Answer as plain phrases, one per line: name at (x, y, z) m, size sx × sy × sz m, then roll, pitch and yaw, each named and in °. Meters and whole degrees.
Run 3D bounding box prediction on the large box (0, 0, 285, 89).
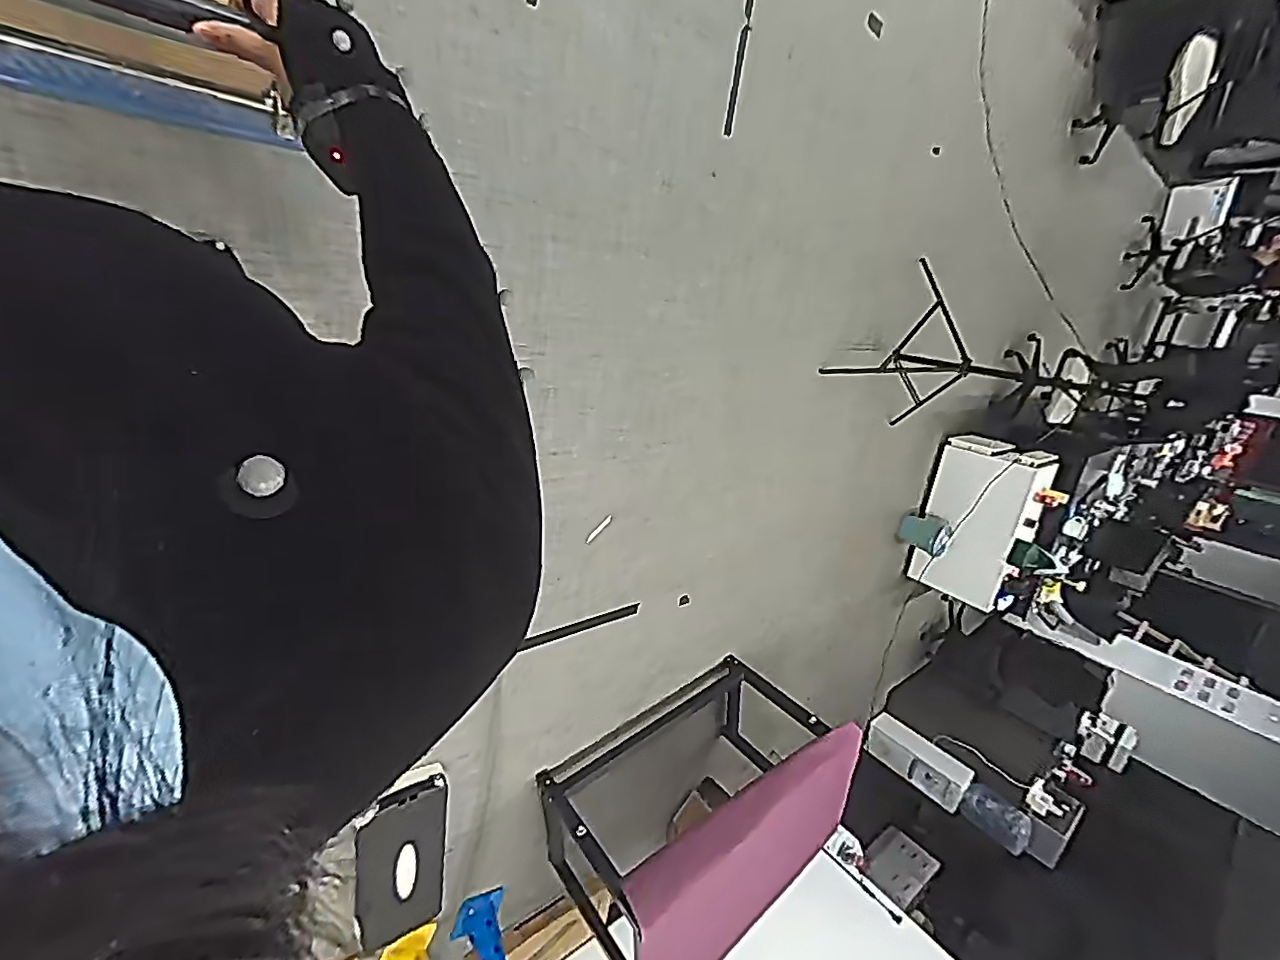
large box at (-0.732, -0.773, 0.698) m, size 0.408 × 0.320 × 0.320 m, roll -8°, pitch 115°, yaw -39°
